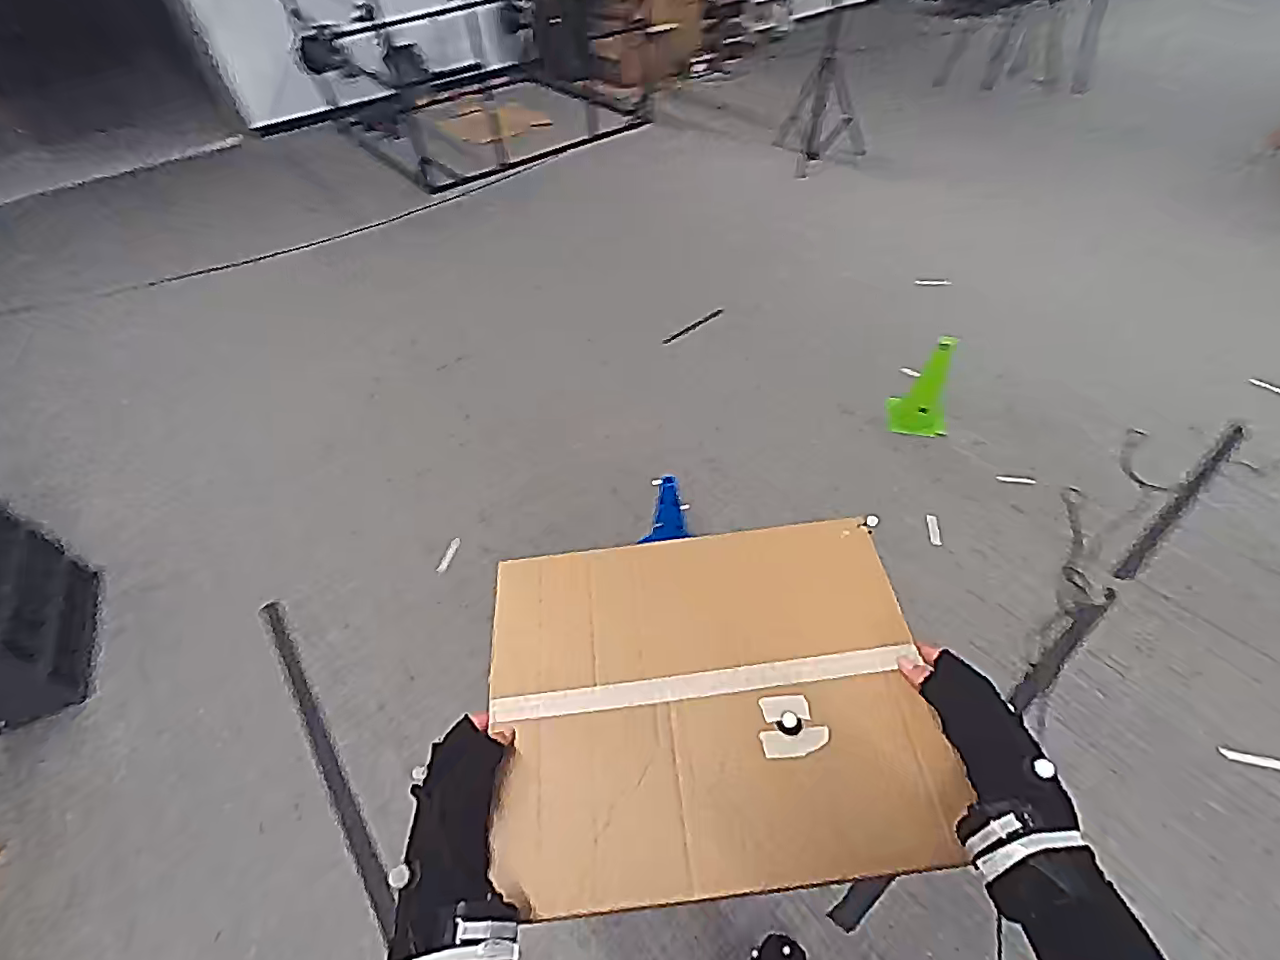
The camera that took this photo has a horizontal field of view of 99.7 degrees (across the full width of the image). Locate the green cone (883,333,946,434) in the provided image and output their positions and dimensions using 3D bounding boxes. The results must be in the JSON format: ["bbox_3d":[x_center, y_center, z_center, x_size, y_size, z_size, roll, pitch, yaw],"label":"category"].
[{"bbox_3d":[1.037,-0.368,1.962,0.202,0.368,0.200,7,49,12],"label":"green cone"}]

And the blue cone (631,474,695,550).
[{"bbox_3d":[0.074,0.127,1.632,0.193,0.380,0.192,-30,52,-21],"label":"blue cone"}]

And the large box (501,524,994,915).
[{"bbox_3d":[0.080,0.282,0.631,0.408,0.320,0.320,-6,54,0],"label":"large box"}]
